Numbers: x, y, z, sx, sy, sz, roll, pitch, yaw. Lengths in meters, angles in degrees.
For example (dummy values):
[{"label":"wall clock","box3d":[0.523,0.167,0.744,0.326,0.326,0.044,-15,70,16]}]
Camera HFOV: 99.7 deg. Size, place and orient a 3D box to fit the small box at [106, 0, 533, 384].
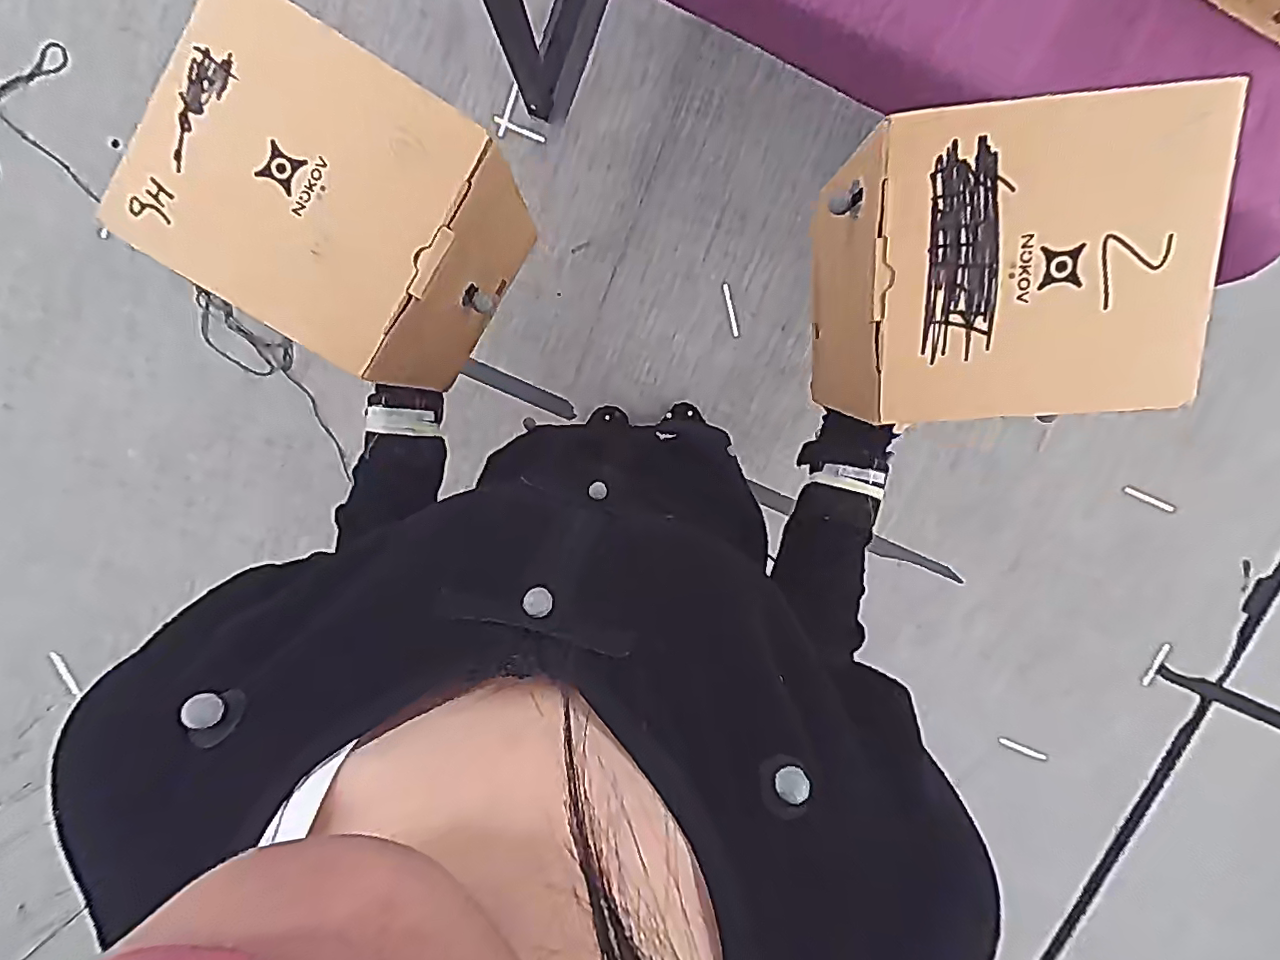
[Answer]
[{"label":"small box","box3d":[-0.196,-0.183,0.392,0.179,0.176,0.168,31,95,-6]}]
